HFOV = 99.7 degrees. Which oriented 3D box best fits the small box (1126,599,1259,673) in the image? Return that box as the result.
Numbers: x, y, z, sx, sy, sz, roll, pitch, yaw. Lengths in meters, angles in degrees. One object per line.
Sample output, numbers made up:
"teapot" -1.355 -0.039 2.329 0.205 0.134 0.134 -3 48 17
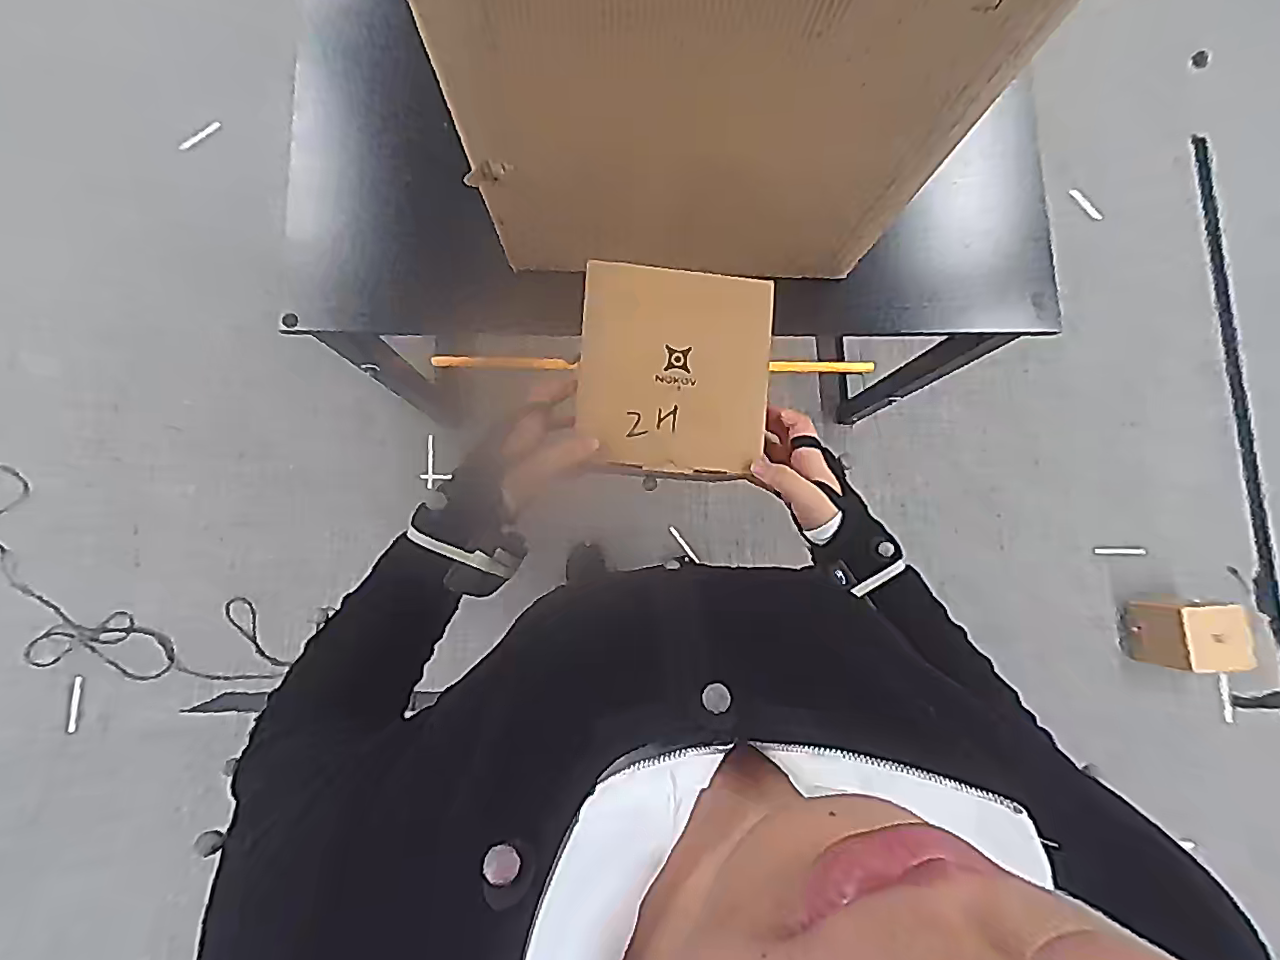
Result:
"small box" 1.486 0.416 1.464 0.179 0.176 0.168 -4 82 -2
